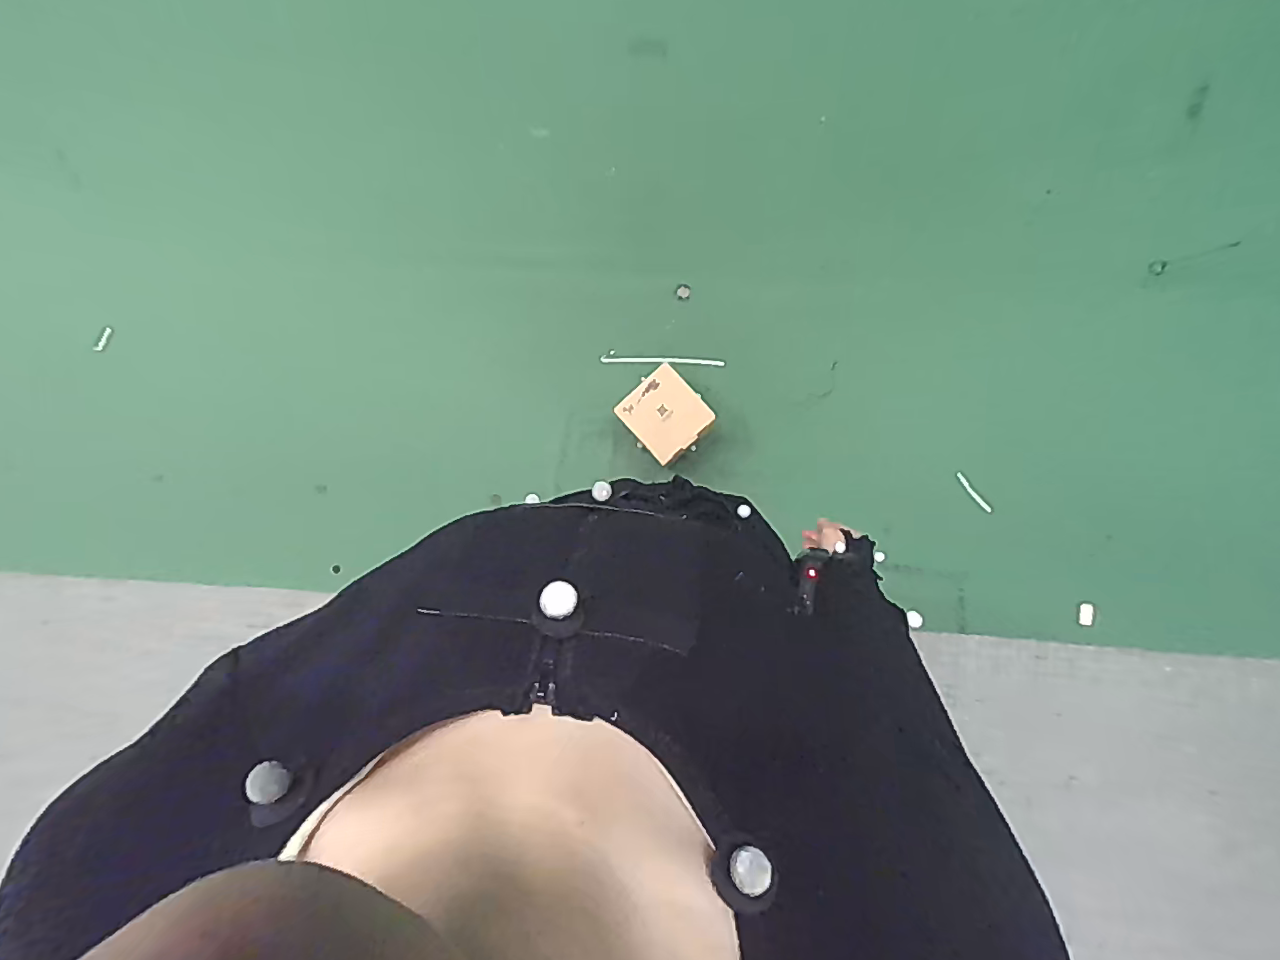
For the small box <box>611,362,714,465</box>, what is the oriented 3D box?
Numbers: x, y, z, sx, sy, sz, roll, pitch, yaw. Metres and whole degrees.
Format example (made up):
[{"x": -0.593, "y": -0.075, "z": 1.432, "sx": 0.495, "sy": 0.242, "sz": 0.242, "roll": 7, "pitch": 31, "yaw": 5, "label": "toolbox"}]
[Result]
[{"x": 0.058, "y": -0.153, "z": 1.293, "sx": 0.168, "sy": 0.176, "sz": 0.179, "roll": -42, "pitch": 87, "yaw": 4, "label": "small box"}]
